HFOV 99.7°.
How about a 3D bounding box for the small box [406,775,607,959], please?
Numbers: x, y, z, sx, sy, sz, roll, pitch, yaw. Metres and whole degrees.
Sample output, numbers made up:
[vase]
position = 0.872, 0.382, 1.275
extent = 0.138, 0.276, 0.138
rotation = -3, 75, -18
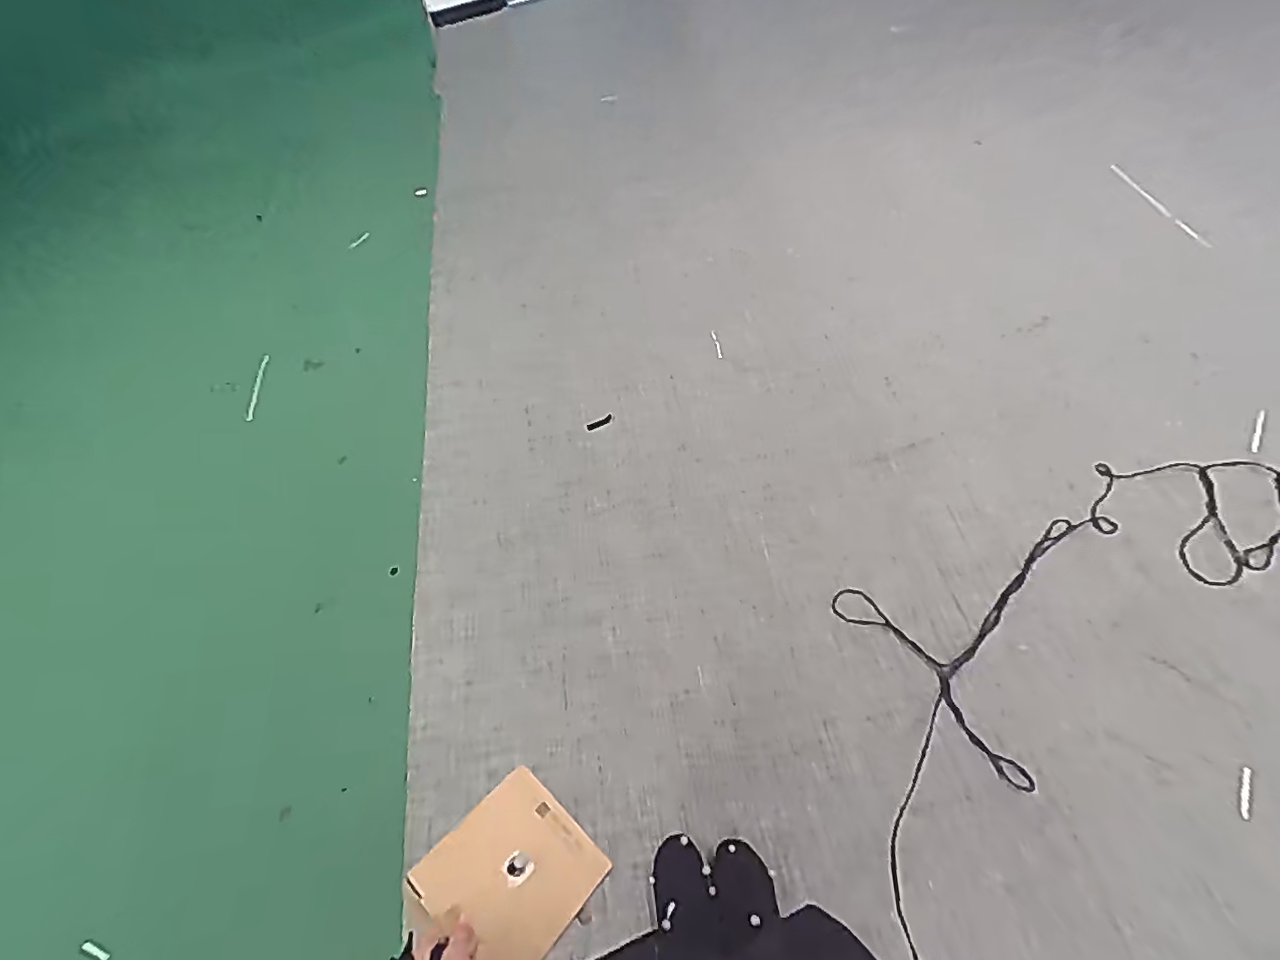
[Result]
[small box]
position = -0.163, 0.508, 0.666
extent = 0.168, 0.179, 0.176
rotation = 36, 42, 20
